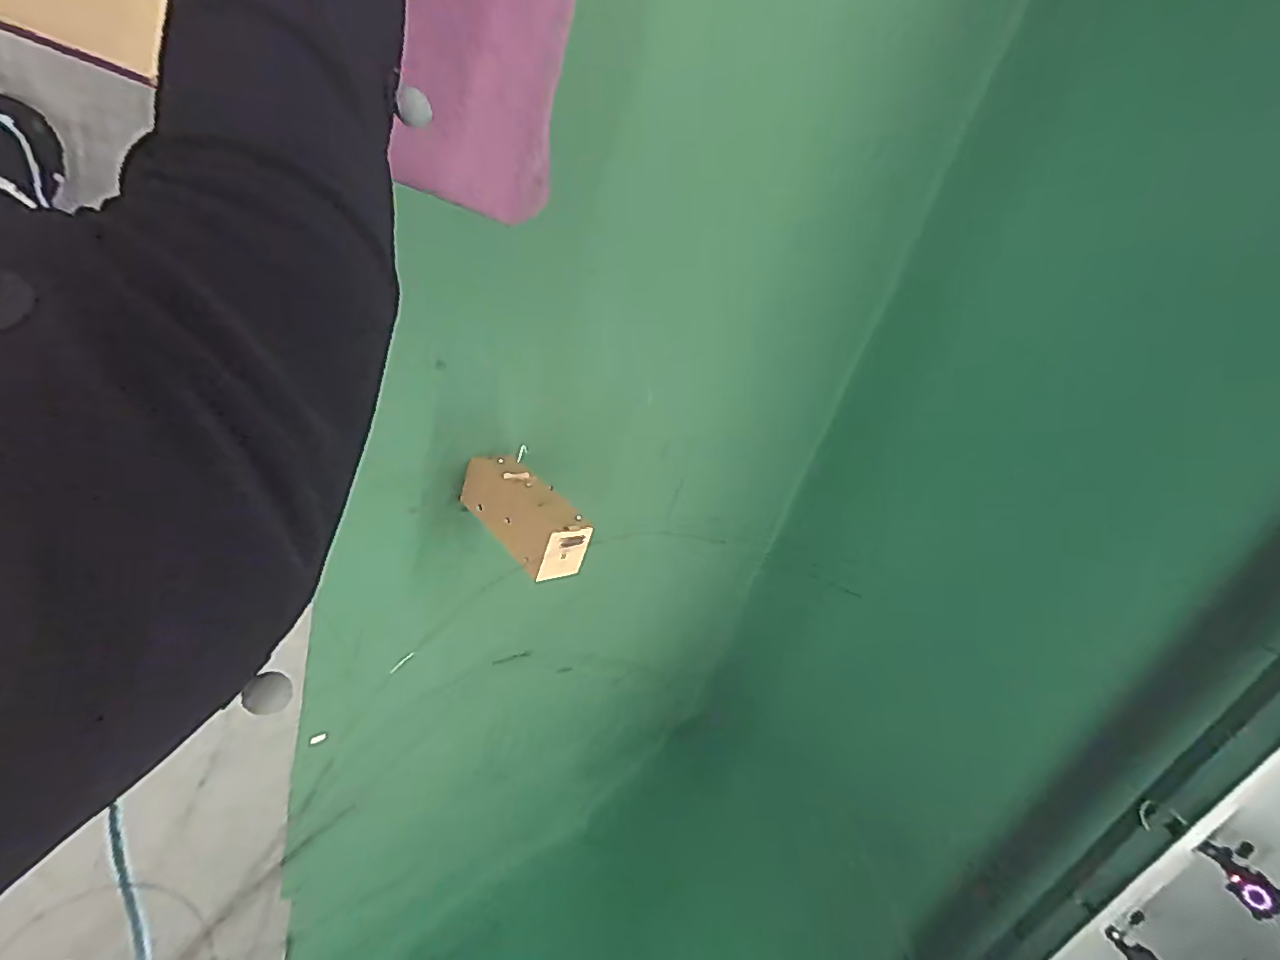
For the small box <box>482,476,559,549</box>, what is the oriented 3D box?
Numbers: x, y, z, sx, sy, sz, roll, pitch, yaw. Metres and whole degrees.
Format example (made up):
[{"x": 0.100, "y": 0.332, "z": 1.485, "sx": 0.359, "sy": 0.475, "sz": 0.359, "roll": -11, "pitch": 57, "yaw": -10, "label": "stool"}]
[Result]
[{"x": -0.399, "y": 0.101, "z": 1.776, "sx": 0.168, "sy": 0.176, "sz": 0.179, "roll": -3, "pitch": 120, "yaw": -48, "label": "small box"}]

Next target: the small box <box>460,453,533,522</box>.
[{"x": -0.504, "y": 0.023, "z": 1.873, "sx": 0.168, "sy": 0.176, "sz": 0.179, "roll": -4, "pitch": 122, "yaw": -49, "label": "small box"}]
